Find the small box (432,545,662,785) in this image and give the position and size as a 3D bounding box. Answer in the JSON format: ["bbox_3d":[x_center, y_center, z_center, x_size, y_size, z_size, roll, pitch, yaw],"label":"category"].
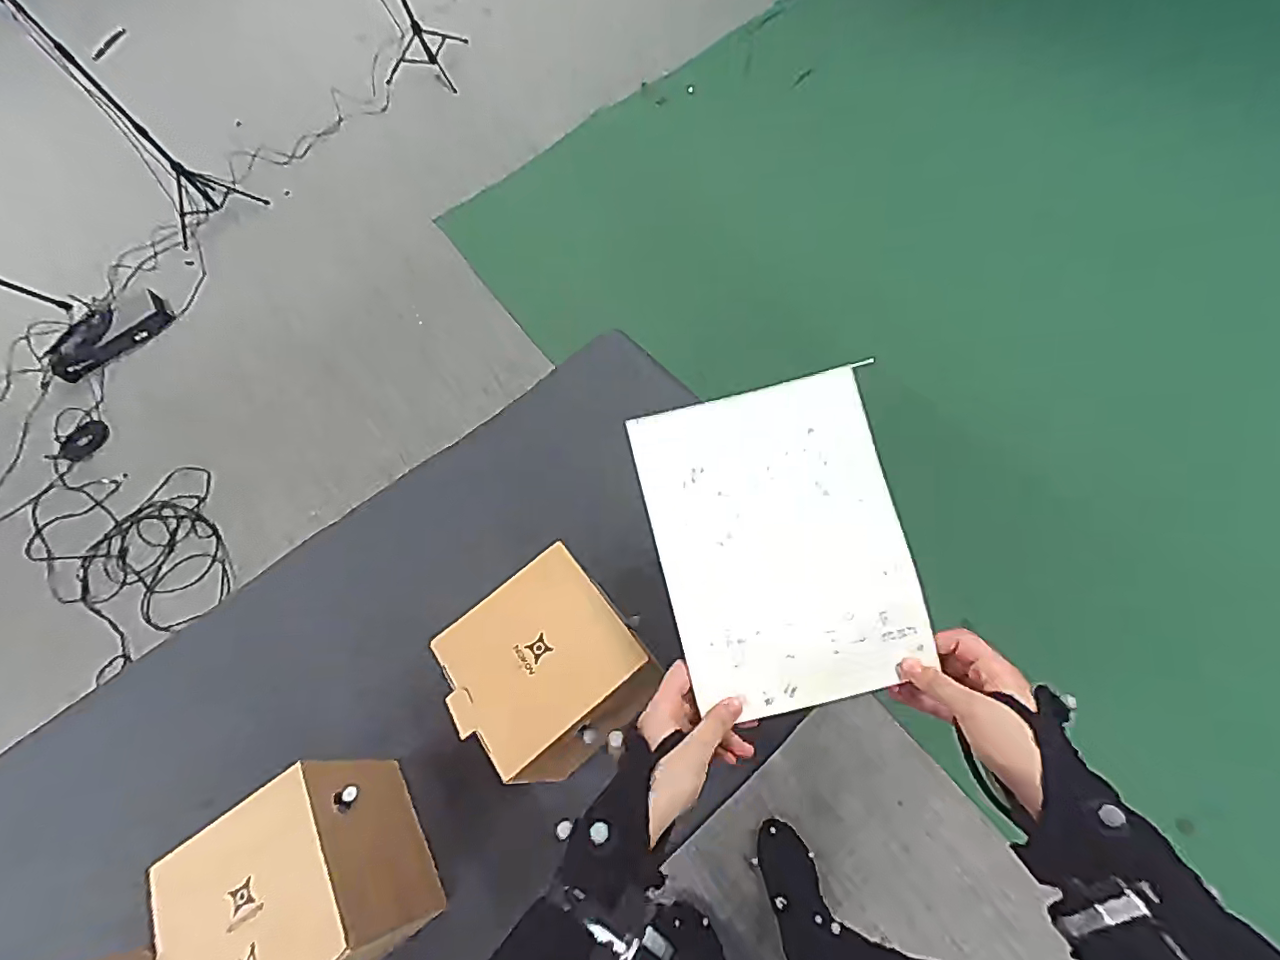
[{"bbox_3d":[-0.090,0.209,0.612,0.179,0.176,0.168,-39,62,-8],"label":"small box"}]

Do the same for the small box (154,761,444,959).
[{"bbox_3d":[-0.339,0.421,0.558,0.168,0.176,0.179,-36,62,-6],"label":"small box"}]
